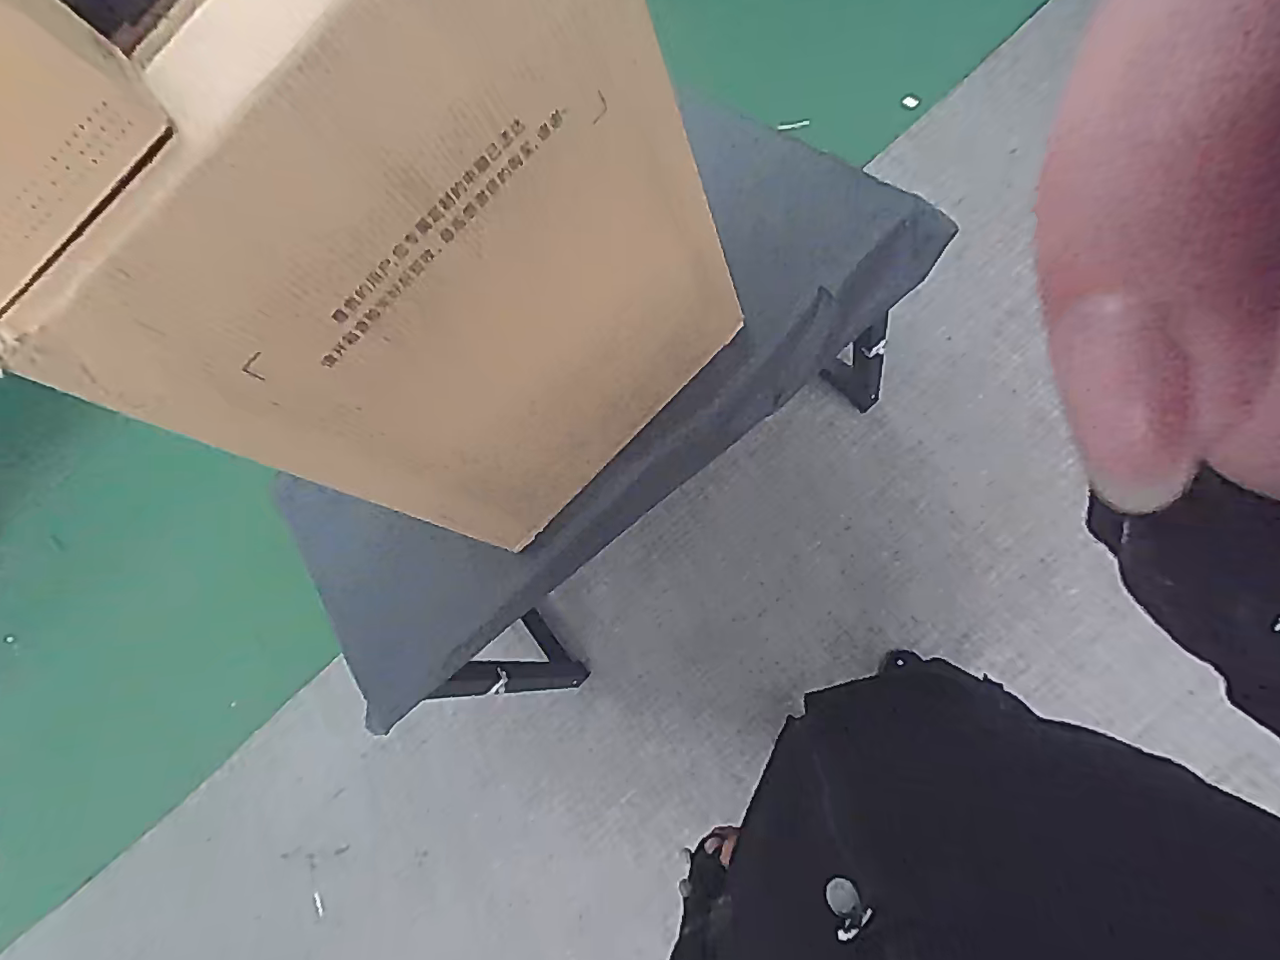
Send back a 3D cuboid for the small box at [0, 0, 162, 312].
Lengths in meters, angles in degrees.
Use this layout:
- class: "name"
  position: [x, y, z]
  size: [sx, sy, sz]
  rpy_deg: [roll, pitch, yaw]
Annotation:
- class: "small box"
  position: [-0.432, -0.231, 0.308]
  size: [0.179, 0.176, 0.168]
  rpy_deg: [-46, 64, 3]
